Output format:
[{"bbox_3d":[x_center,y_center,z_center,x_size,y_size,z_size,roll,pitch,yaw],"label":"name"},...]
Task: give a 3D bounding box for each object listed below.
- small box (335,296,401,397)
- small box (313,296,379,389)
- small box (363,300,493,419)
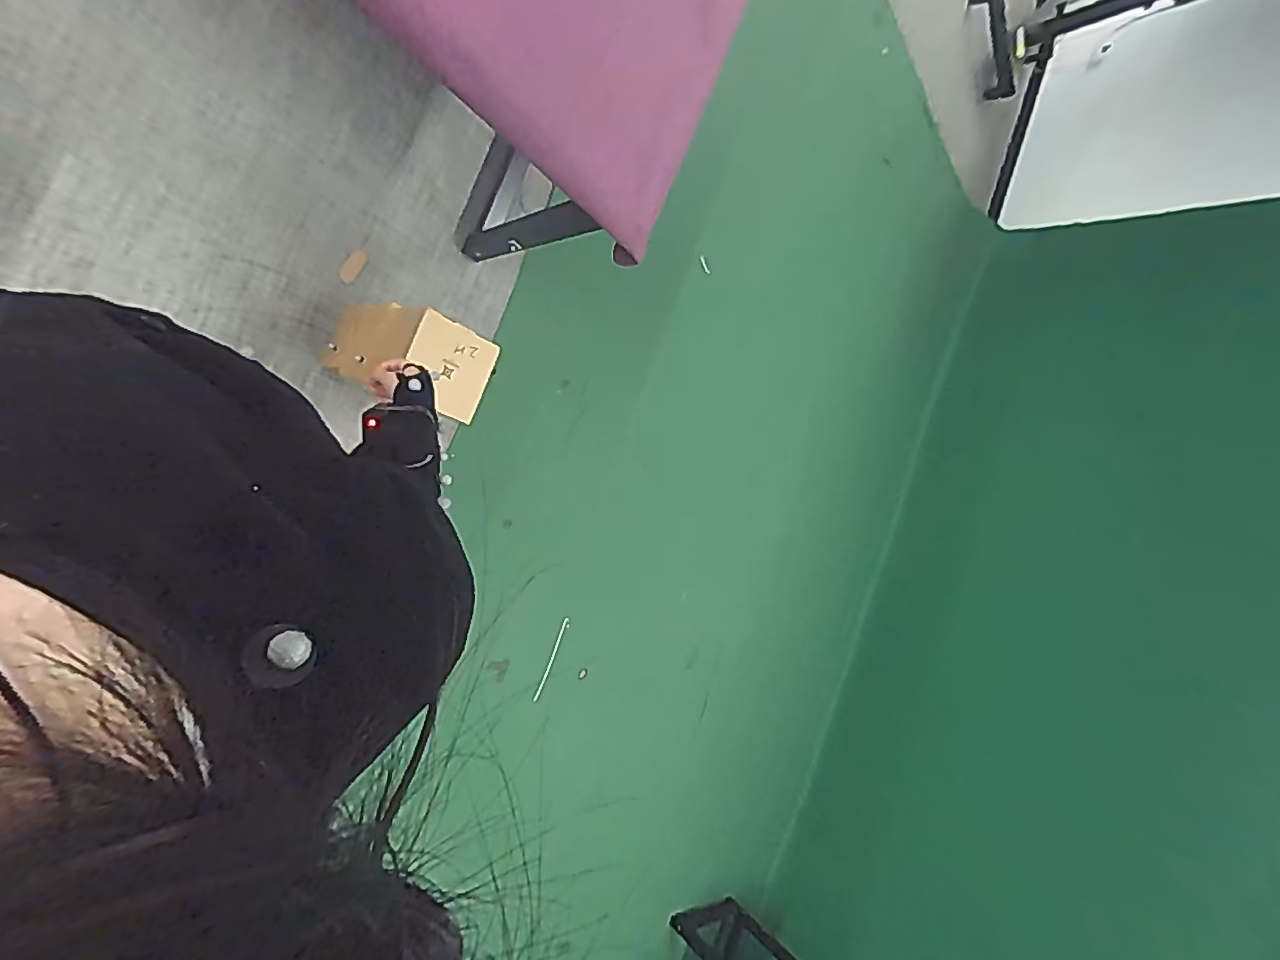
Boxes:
[{"bbox_3d":[-0.553,-0.291,1.209,0.168,0.176,0.179,24,86,-44],"label":"small box"},{"bbox_3d":[-0.664,-0.327,1.322,0.179,0.176,0.168,28,82,-44],"label":"small box"},{"bbox_3d":[-0.437,-0.244,1.101,0.168,0.176,0.179,25,85,-45],"label":"small box"}]
